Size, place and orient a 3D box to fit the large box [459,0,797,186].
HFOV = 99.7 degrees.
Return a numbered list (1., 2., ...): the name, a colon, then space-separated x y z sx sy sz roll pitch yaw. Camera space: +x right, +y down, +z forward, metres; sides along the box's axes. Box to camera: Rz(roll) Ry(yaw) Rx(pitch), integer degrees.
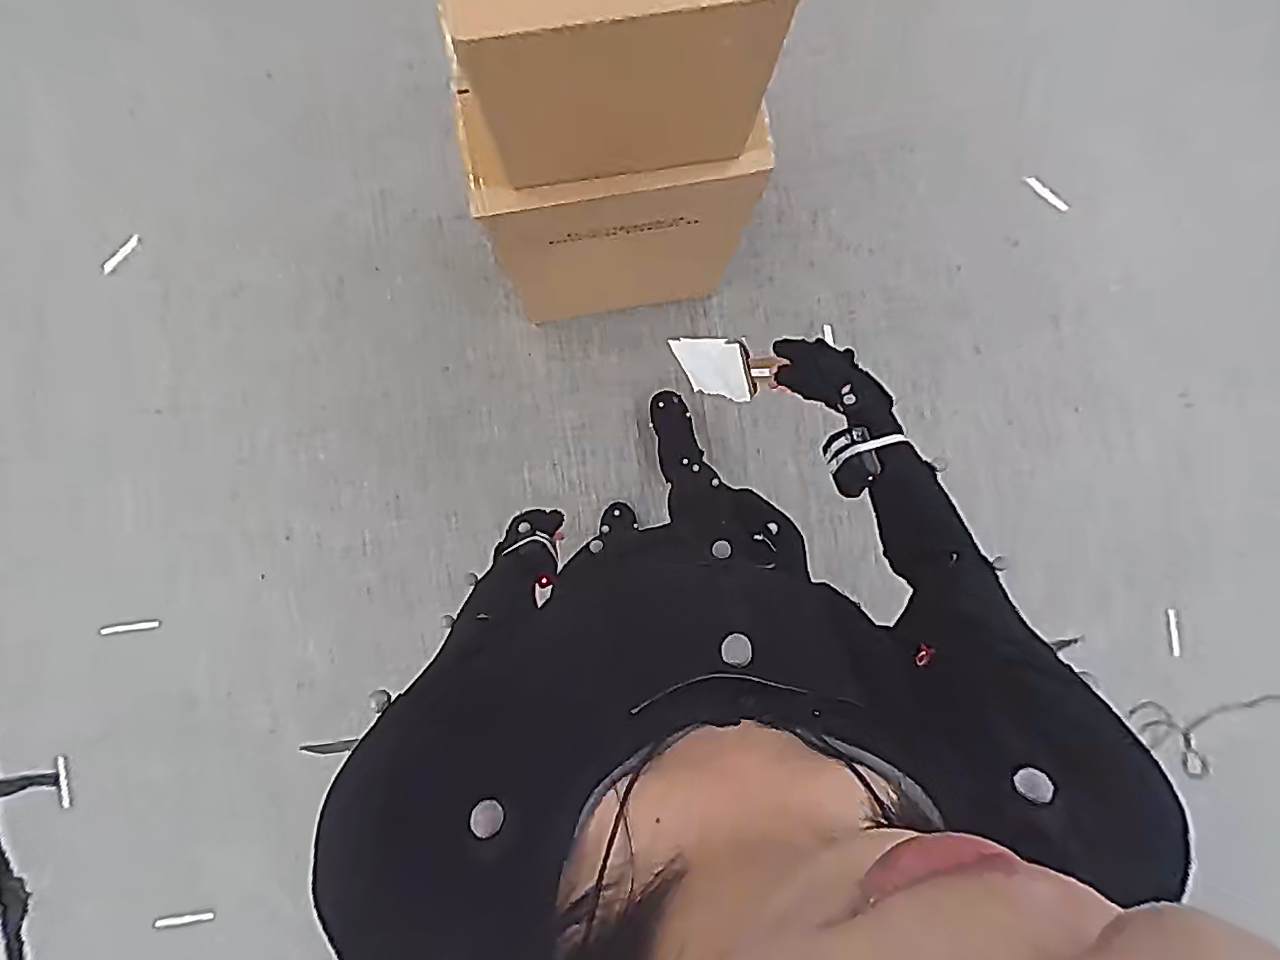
1. large box: -0.038 -0.678 0.772 0.408 0.320 0.320 -10 90 -3
